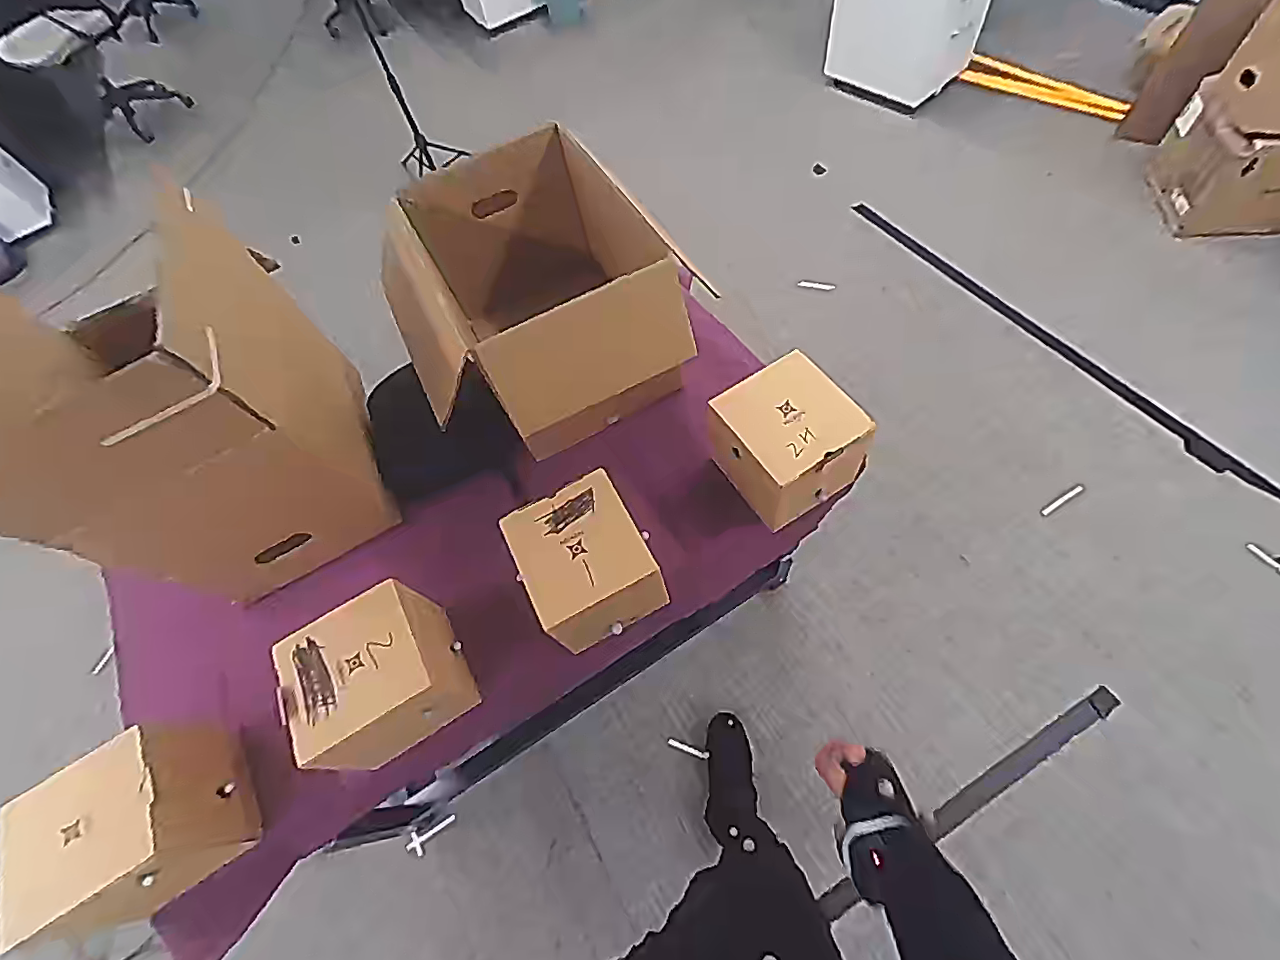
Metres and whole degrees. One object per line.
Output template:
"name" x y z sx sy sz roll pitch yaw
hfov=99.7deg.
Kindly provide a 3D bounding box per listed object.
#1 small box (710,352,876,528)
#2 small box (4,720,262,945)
"small box" 0.224 -0.056 0.837 0.168 0.176 0.179 -31 63 -7
"small box" -0.648 0.445 0.707 0.179 0.176 0.168 -32 62 -10
